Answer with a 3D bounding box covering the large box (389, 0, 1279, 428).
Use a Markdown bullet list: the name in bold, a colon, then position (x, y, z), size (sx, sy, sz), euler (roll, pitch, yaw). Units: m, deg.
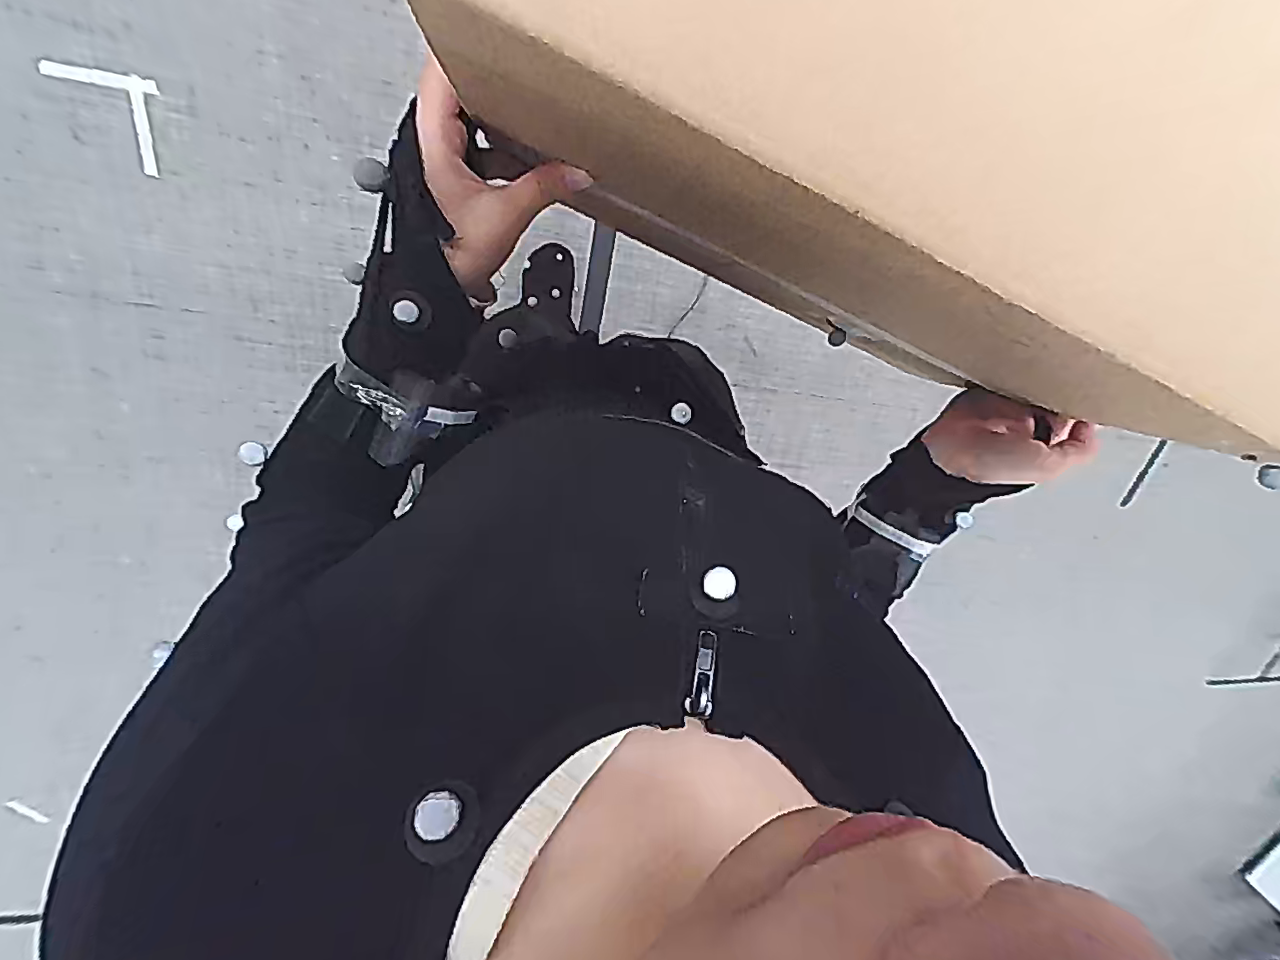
- **large box**: position (0.141, -0.267, 0.286), size (0.408, 0.320, 0.320), euler (19, 108, -13)
